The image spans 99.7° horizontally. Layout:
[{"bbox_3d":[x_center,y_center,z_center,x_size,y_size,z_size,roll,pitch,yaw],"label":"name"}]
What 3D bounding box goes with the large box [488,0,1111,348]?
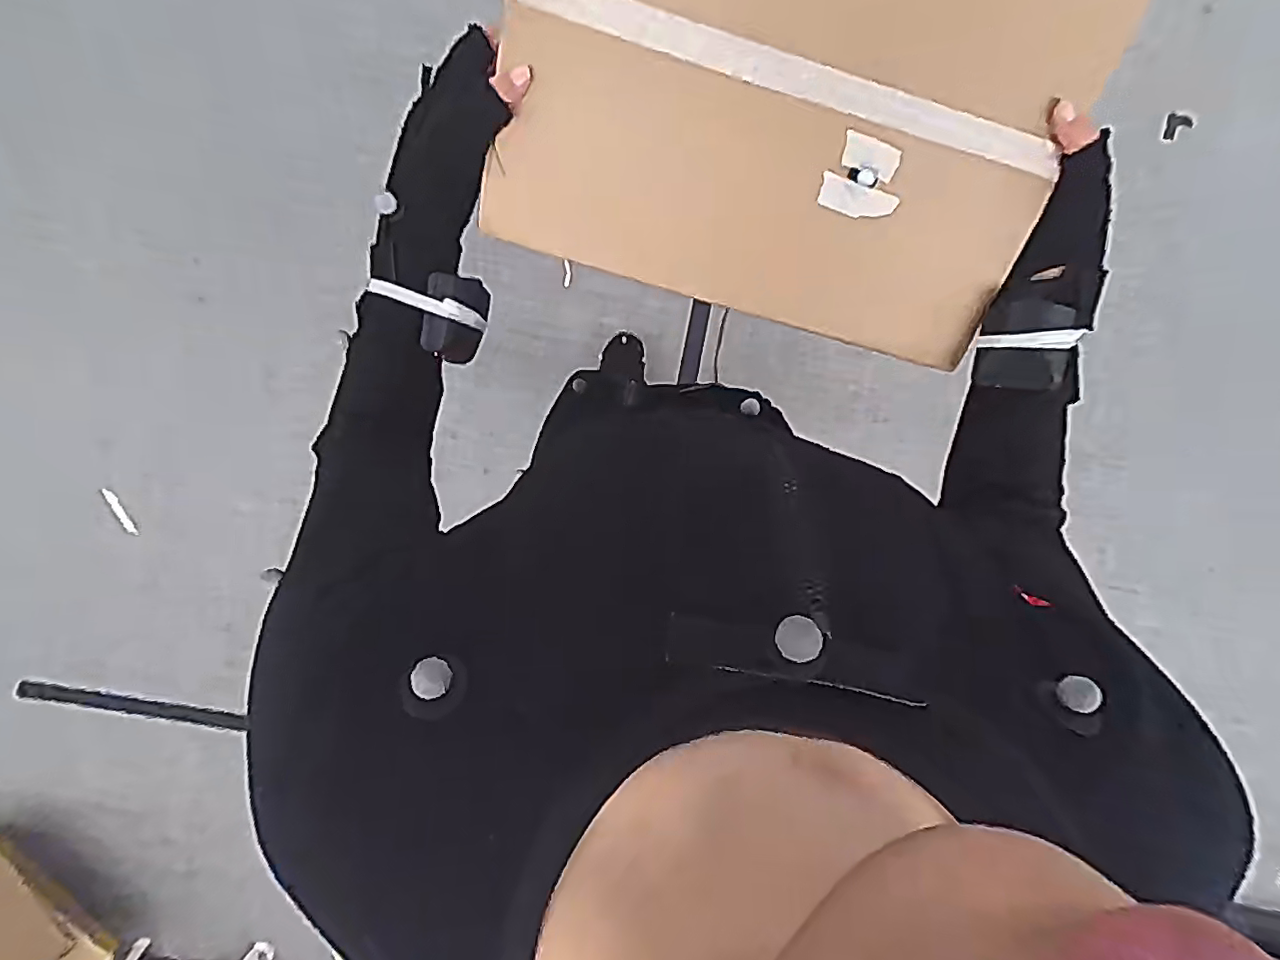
[{"bbox_3d":[0.104,-0.352,0.521,0.408,0.320,0.320,14,115,-7],"label":"large box"}]
